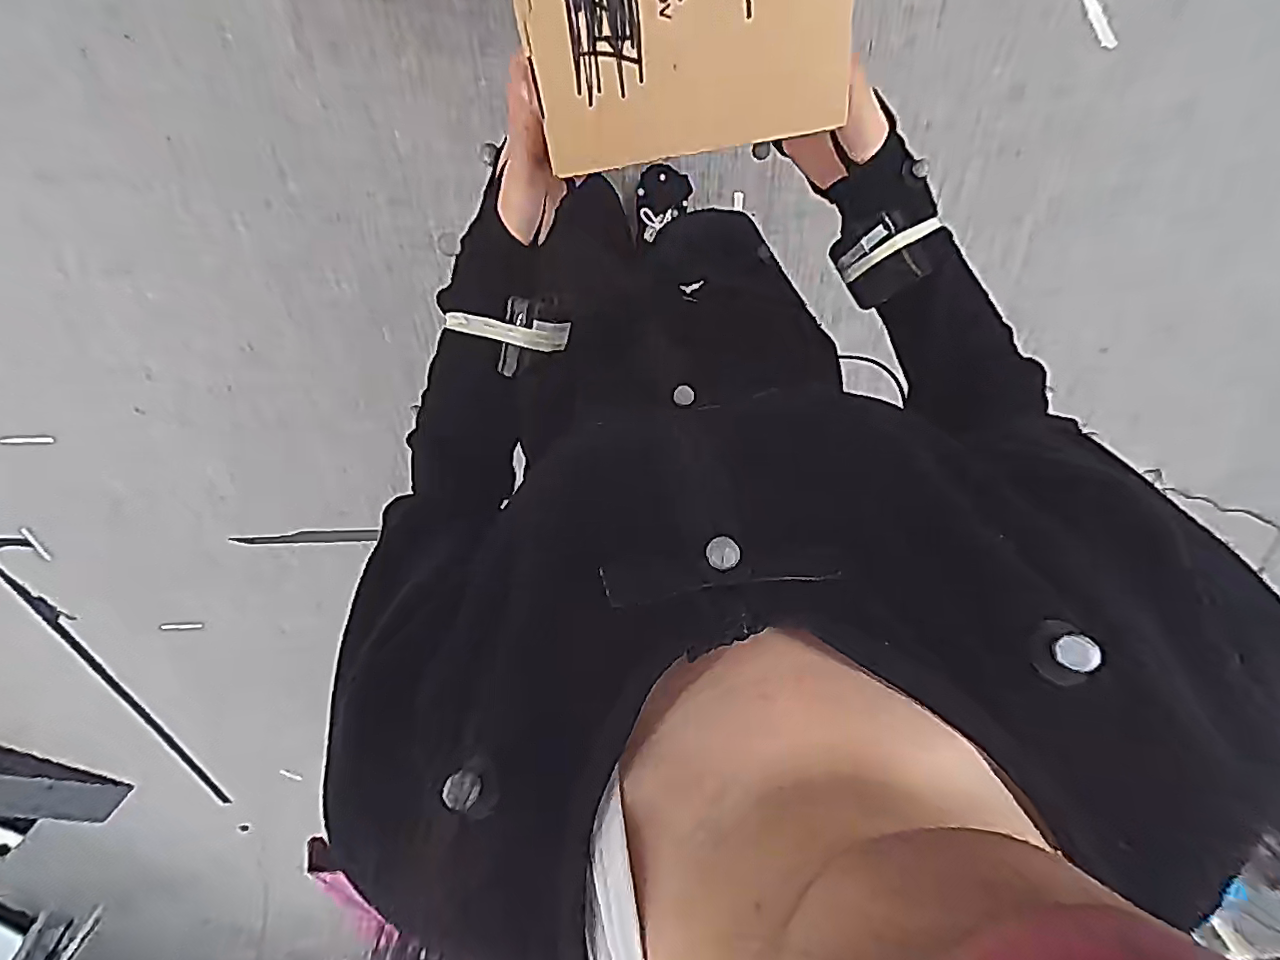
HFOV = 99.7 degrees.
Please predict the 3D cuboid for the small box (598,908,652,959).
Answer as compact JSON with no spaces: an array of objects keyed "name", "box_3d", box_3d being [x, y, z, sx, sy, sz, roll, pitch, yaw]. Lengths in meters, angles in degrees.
[{"name":"small box","box_3d":[-0.050,1.510,1.735,0.168,0.176,0.179,2,122,-5]}]
